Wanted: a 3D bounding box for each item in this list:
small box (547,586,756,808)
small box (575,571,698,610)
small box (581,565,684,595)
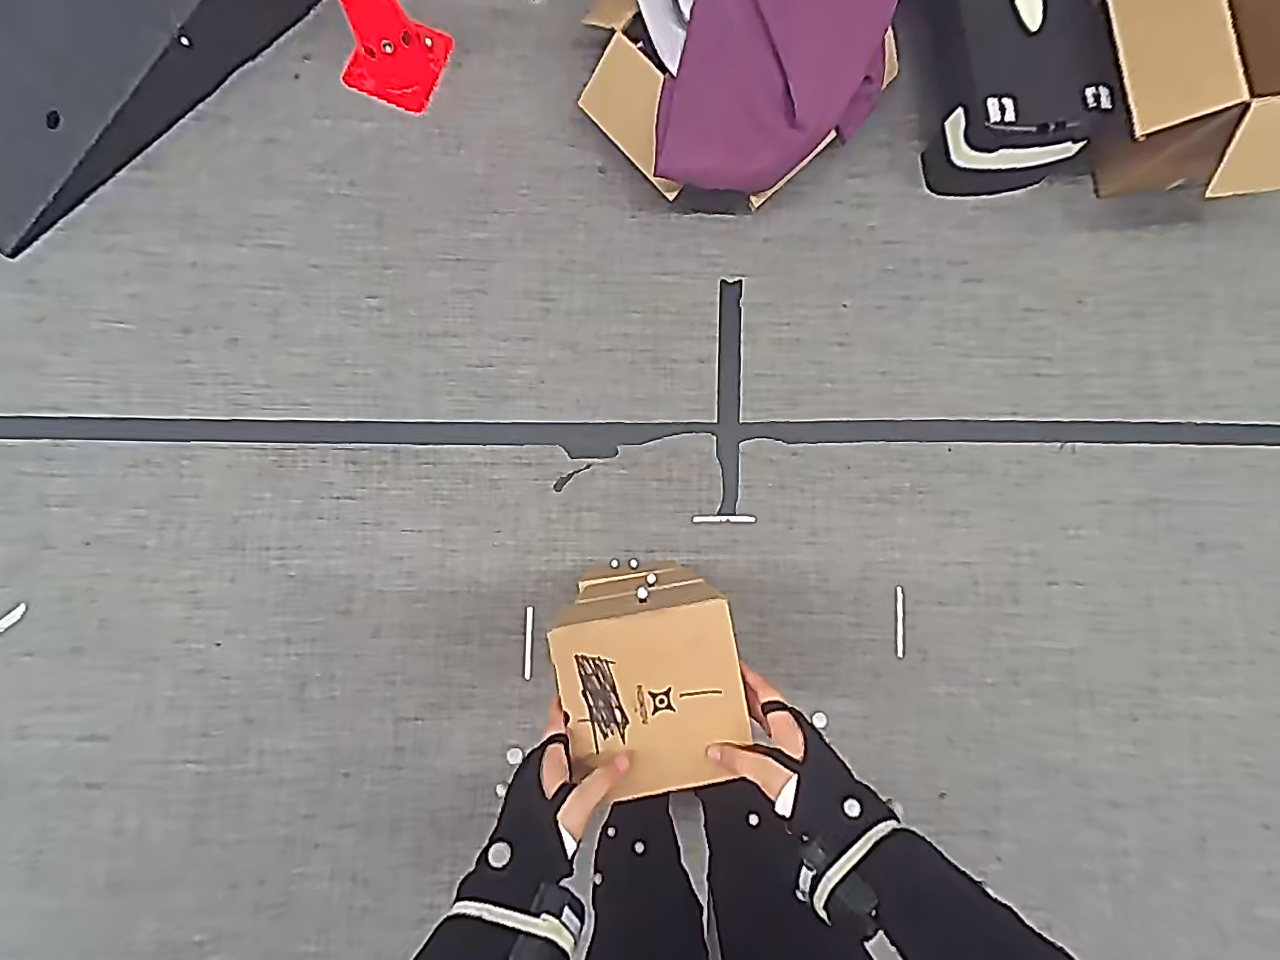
[{"bbox_3d":[0.010,0.215,0.583,0.179,0.176,0.168,-10,85,-2],"label":"small box"},{"bbox_3d":[0.012,0.231,0.747,0.168,0.176,0.179,-9,86,-1],"label":"small box"},{"bbox_3d":[-0.004,0.240,0.911,0.168,0.176,0.179,-8,86,0],"label":"small box"}]
